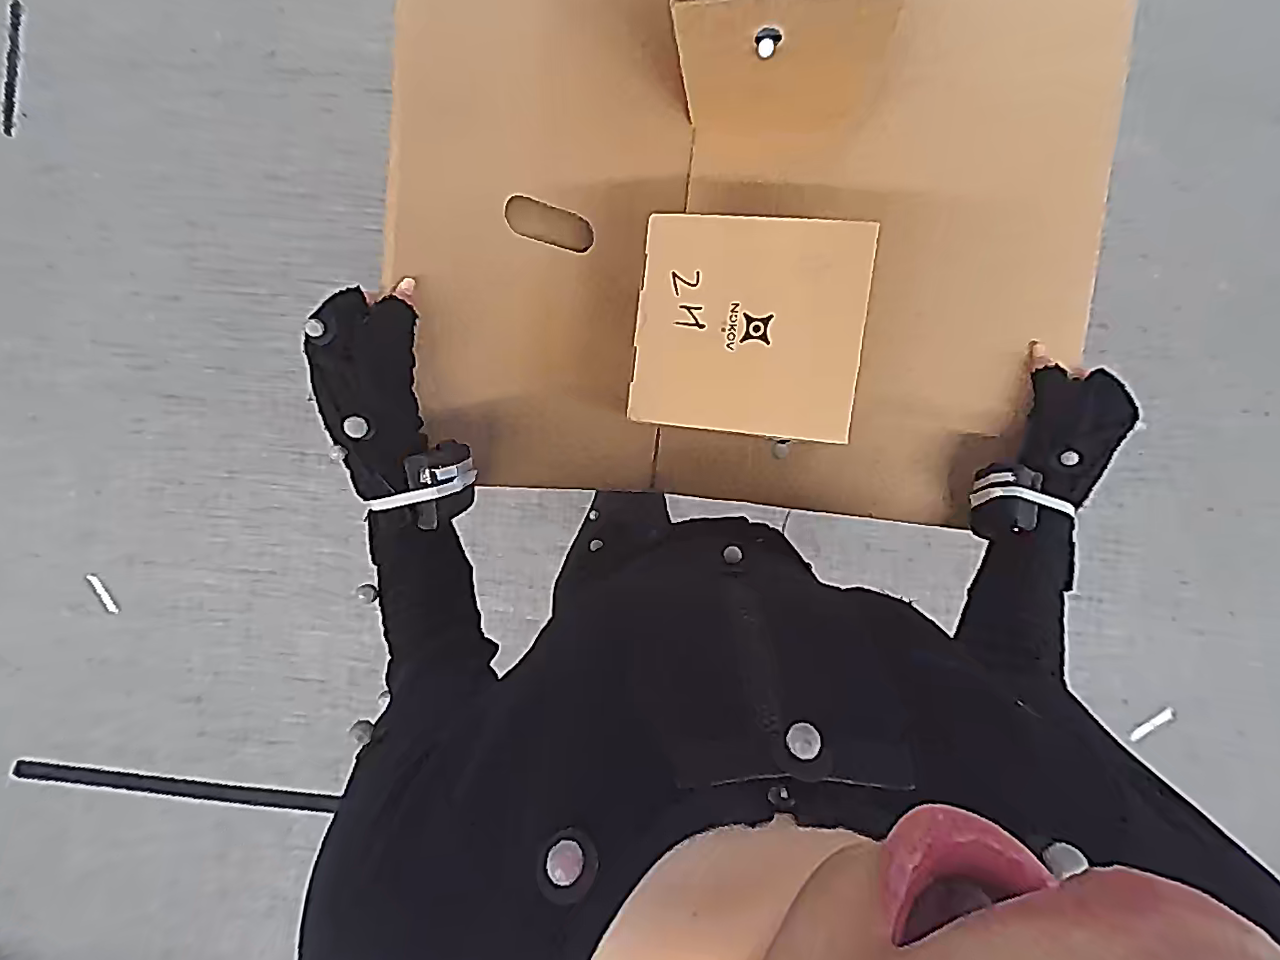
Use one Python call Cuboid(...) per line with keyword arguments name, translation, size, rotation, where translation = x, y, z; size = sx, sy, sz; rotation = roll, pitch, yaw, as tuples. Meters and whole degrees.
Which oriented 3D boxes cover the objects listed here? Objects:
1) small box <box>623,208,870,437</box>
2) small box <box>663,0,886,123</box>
Cuboid(name="small box", translation=(0.095, -0.133, 0.508), size=(0.179, 0.176, 0.168), rotation=(8, 95, 11))
Cuboid(name="small box", translation=(0.125, -0.450, 0.483), size=(0.179, 0.176, 0.168), rotation=(6, 95, 10))
